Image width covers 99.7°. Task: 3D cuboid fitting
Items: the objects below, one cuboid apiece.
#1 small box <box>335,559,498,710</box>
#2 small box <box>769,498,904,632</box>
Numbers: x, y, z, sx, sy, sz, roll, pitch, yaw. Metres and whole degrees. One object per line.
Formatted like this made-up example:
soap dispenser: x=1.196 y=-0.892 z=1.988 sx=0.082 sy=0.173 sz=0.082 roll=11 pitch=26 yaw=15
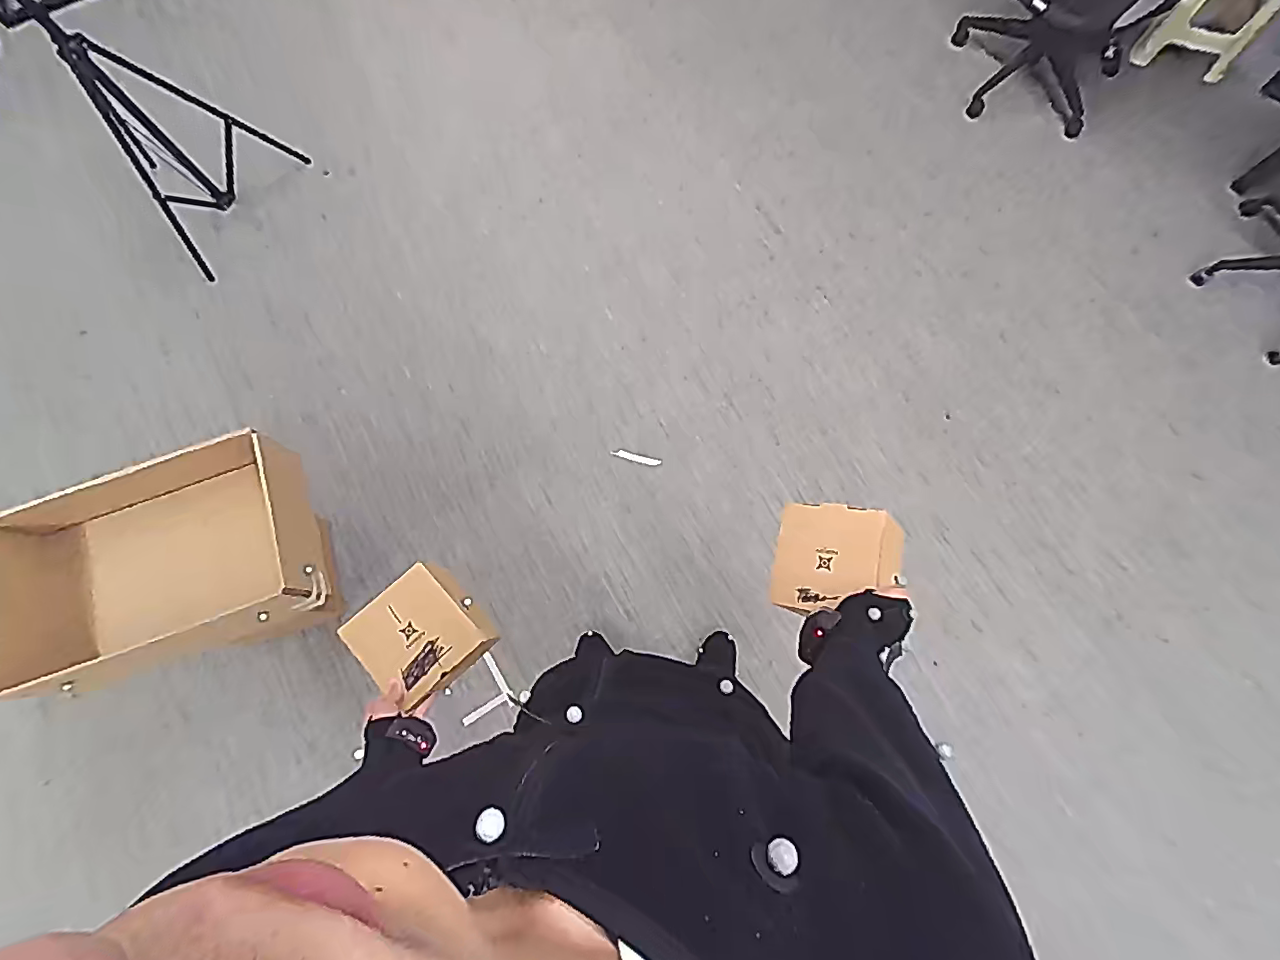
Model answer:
small box: x=-0.370 y=0.259 z=0.932 sx=0.168 sy=0.176 sz=0.179 roll=-42 pitch=82 yaw=-13
small box: x=0.338 y=0.145 z=0.913 sx=0.168 sy=0.176 sz=0.179 roll=4 pitch=73 yaw=36
